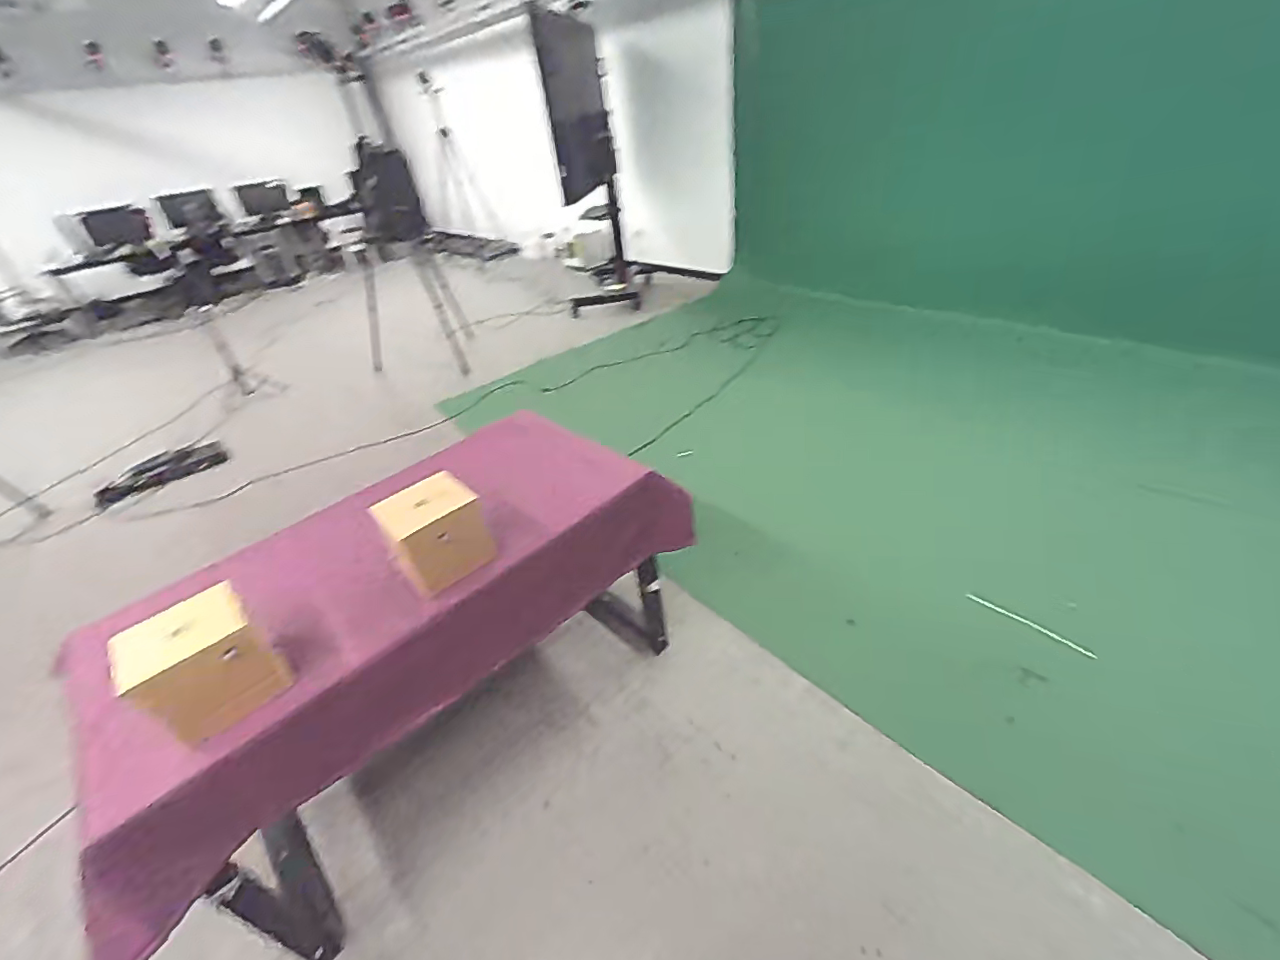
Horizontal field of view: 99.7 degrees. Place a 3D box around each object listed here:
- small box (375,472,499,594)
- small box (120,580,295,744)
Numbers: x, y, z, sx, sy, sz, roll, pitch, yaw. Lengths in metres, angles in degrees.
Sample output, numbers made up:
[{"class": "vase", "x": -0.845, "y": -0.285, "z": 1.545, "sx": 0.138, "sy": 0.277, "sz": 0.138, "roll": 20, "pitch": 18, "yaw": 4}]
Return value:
[{"class": "small box", "x": -0.436, "y": 0.115, "z": 1.177, "sx": 0.179, "sy": 0.176, "sz": 0.168, "roll": -32, "pitch": 42, "yaw": -30}, {"class": "small box", "x": -0.755, "y": 0.318, "z": 0.951, "sx": 0.179, "sy": 0.176, "sz": 0.168, "roll": -32, "pitch": 41, "yaw": -32}]
